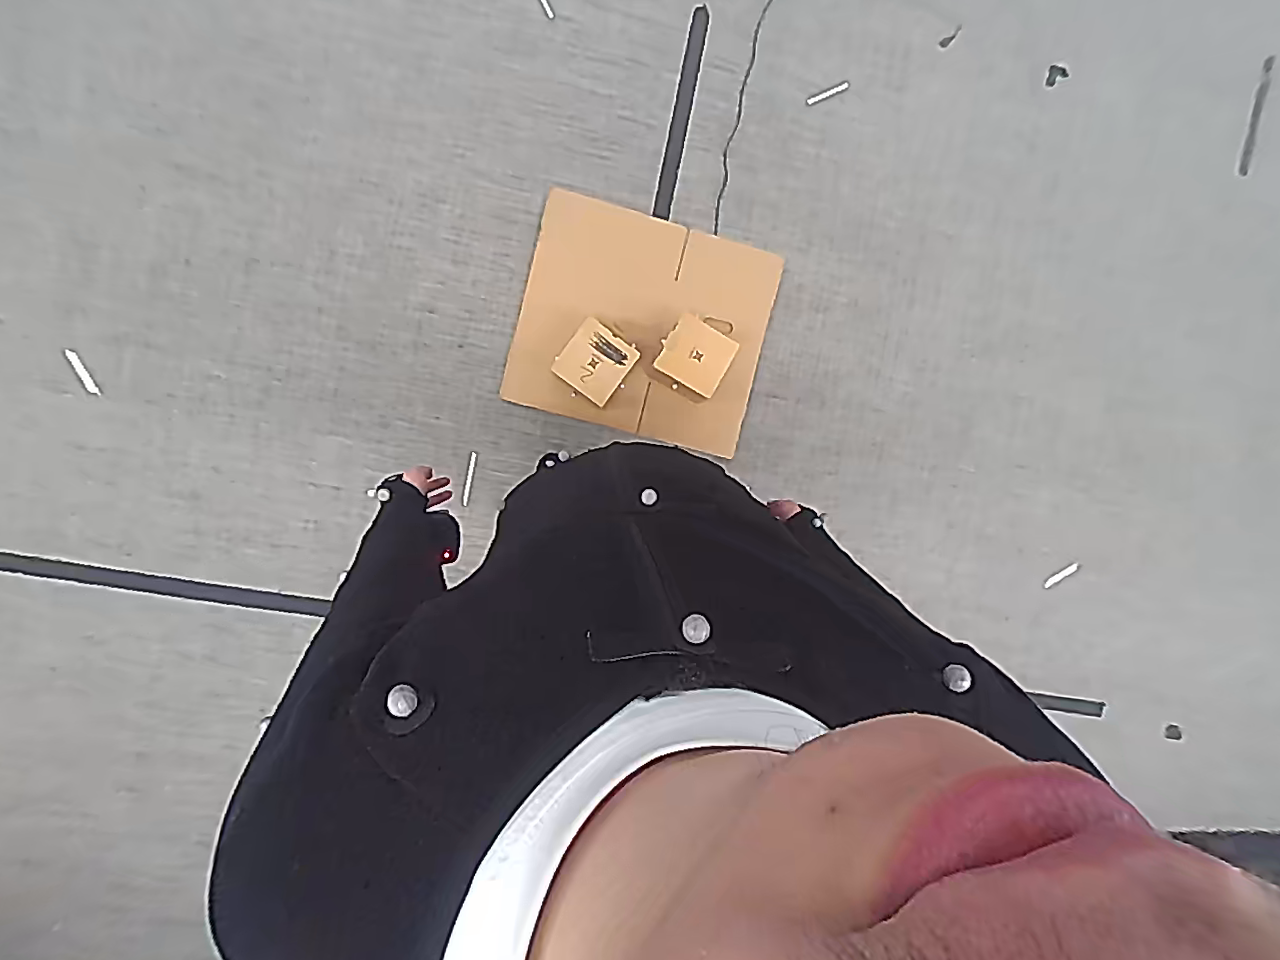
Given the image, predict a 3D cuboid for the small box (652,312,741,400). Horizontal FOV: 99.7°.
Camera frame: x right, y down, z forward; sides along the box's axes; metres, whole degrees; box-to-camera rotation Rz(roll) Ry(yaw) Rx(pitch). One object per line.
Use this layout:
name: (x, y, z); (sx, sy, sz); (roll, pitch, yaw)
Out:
small box: (0.149, -0.334, 1.496); (0.179, 0.176, 0.168); (29, 91, -4)
